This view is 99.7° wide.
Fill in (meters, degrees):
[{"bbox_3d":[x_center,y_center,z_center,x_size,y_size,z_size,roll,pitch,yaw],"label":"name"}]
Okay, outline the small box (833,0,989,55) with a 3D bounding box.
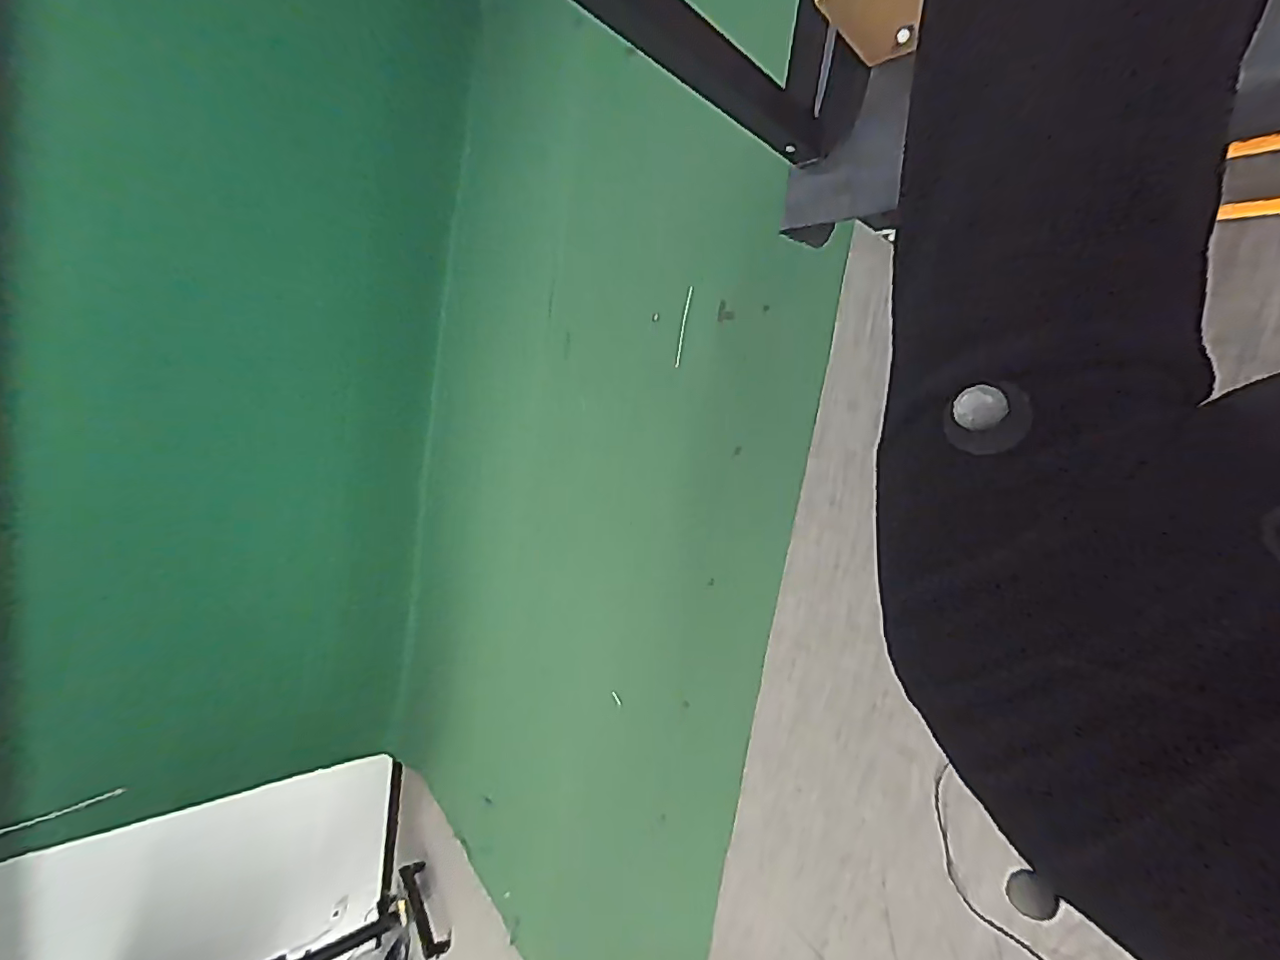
[{"bbox_3d":[0.361,-0.719,0.709,0.168,0.176,0.179,17,102,47],"label":"small box"}]
